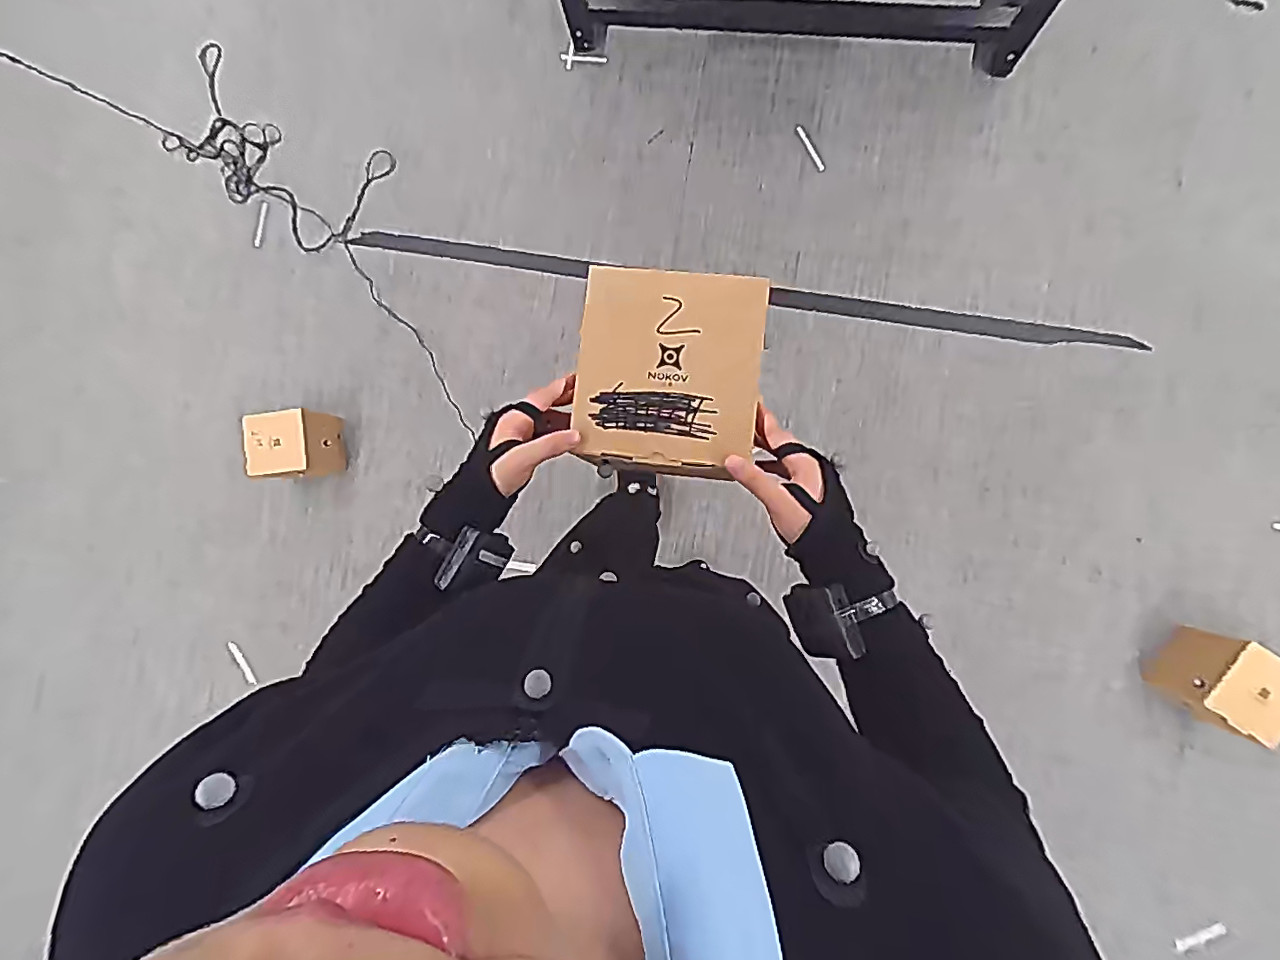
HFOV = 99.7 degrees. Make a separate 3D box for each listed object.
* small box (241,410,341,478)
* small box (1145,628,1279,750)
[{"bbox_3d":[-0.965,-0.095,1.513,0.179,0.176,0.168,-6,87,6],"label":"small box"},{"bbox_3d":[1.340,0.468,1.246,0.168,0.176,0.179,35,92,6],"label":"small box"}]
